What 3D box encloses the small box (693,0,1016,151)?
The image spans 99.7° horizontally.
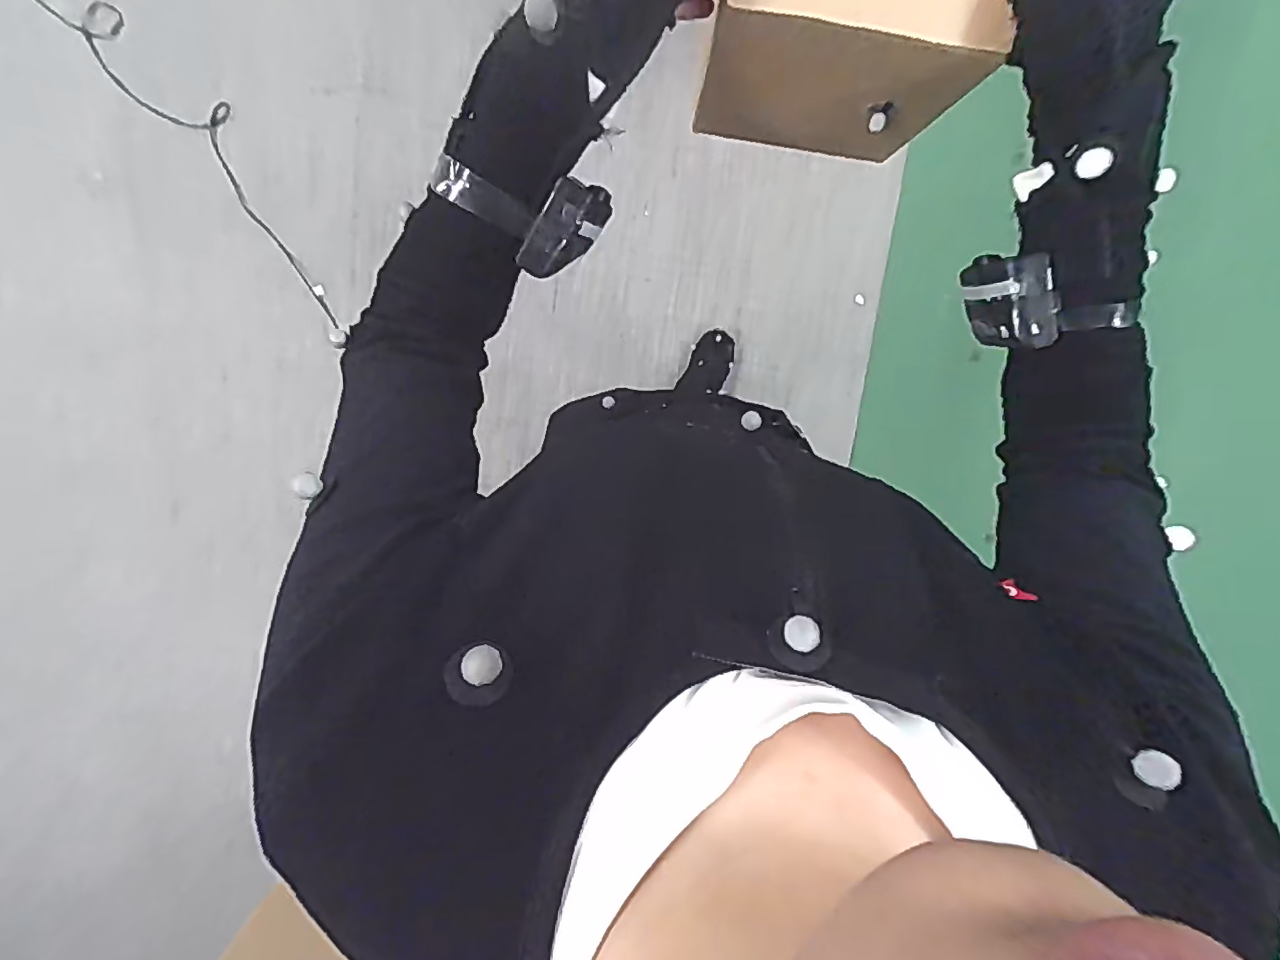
[{"bbox_3d":[0.141,-0.361,0.382,0.179,0.176,0.168,7,99,-1],"label":"small box"}]
